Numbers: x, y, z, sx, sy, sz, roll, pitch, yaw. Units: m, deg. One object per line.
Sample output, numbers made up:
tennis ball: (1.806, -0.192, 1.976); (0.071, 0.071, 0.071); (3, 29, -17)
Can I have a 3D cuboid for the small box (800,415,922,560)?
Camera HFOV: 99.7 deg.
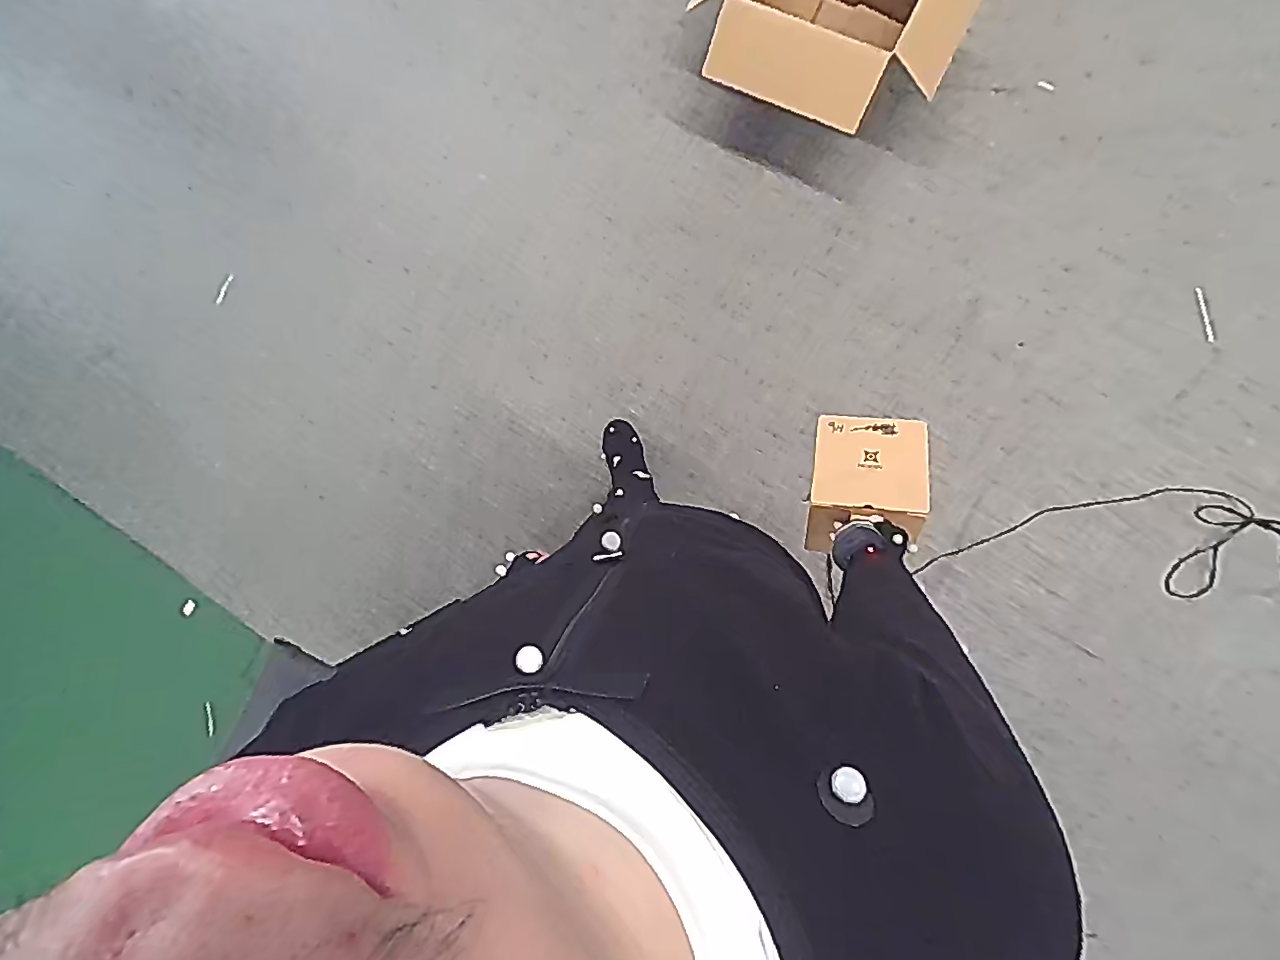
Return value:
small box: (0.361, 0.016, 0.899); (0.168, 0.176, 0.179); (7, 59, 17)
